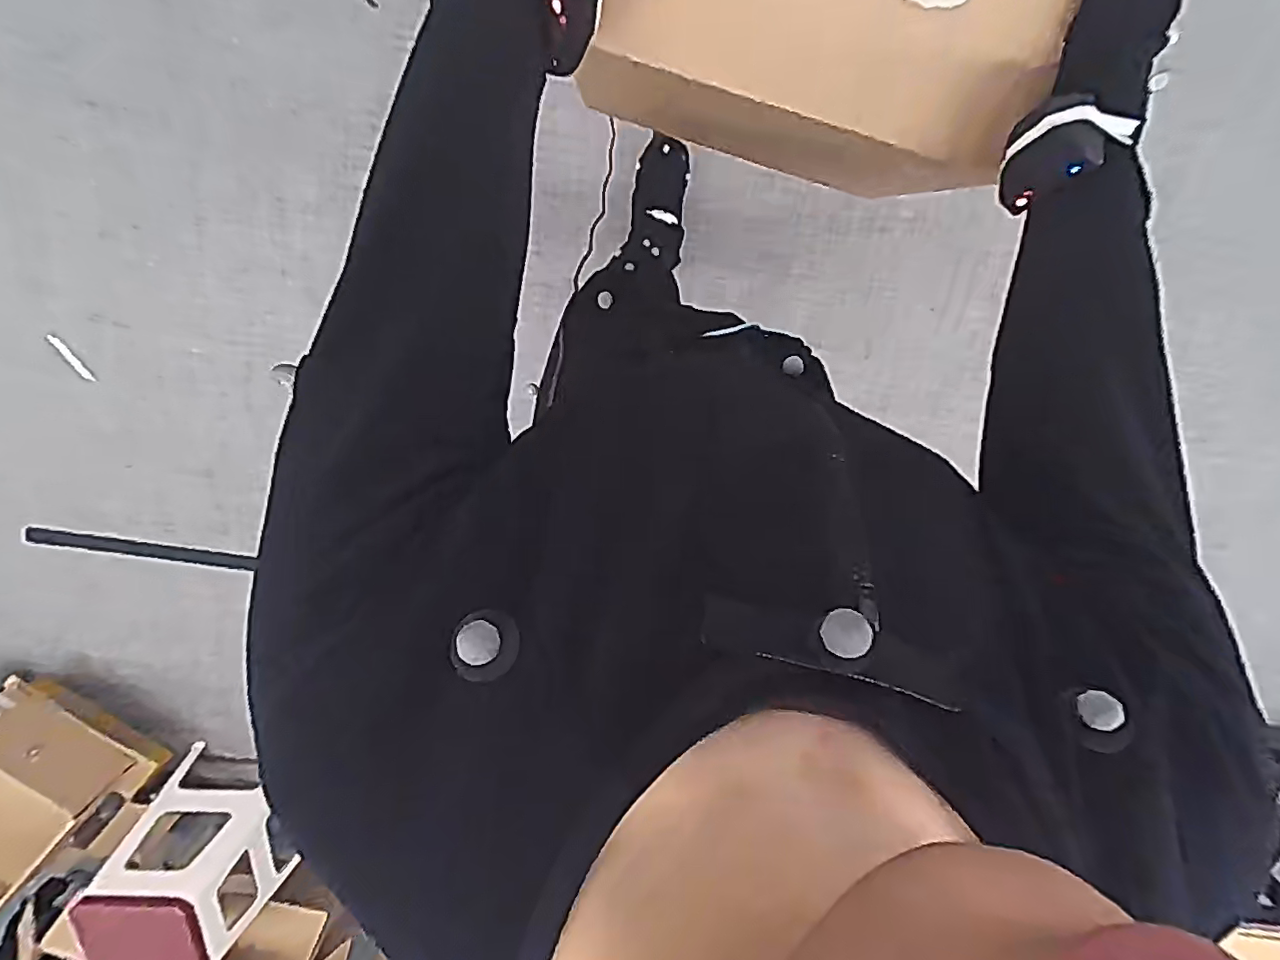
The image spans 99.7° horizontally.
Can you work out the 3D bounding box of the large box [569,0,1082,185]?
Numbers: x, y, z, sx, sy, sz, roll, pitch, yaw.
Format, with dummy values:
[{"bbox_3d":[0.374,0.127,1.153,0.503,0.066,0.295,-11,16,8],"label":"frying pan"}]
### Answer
[{"bbox_3d":[0.162,-0.515,0.527,0.408,0.320,0.320,12,116,-8],"label":"large box"}]
